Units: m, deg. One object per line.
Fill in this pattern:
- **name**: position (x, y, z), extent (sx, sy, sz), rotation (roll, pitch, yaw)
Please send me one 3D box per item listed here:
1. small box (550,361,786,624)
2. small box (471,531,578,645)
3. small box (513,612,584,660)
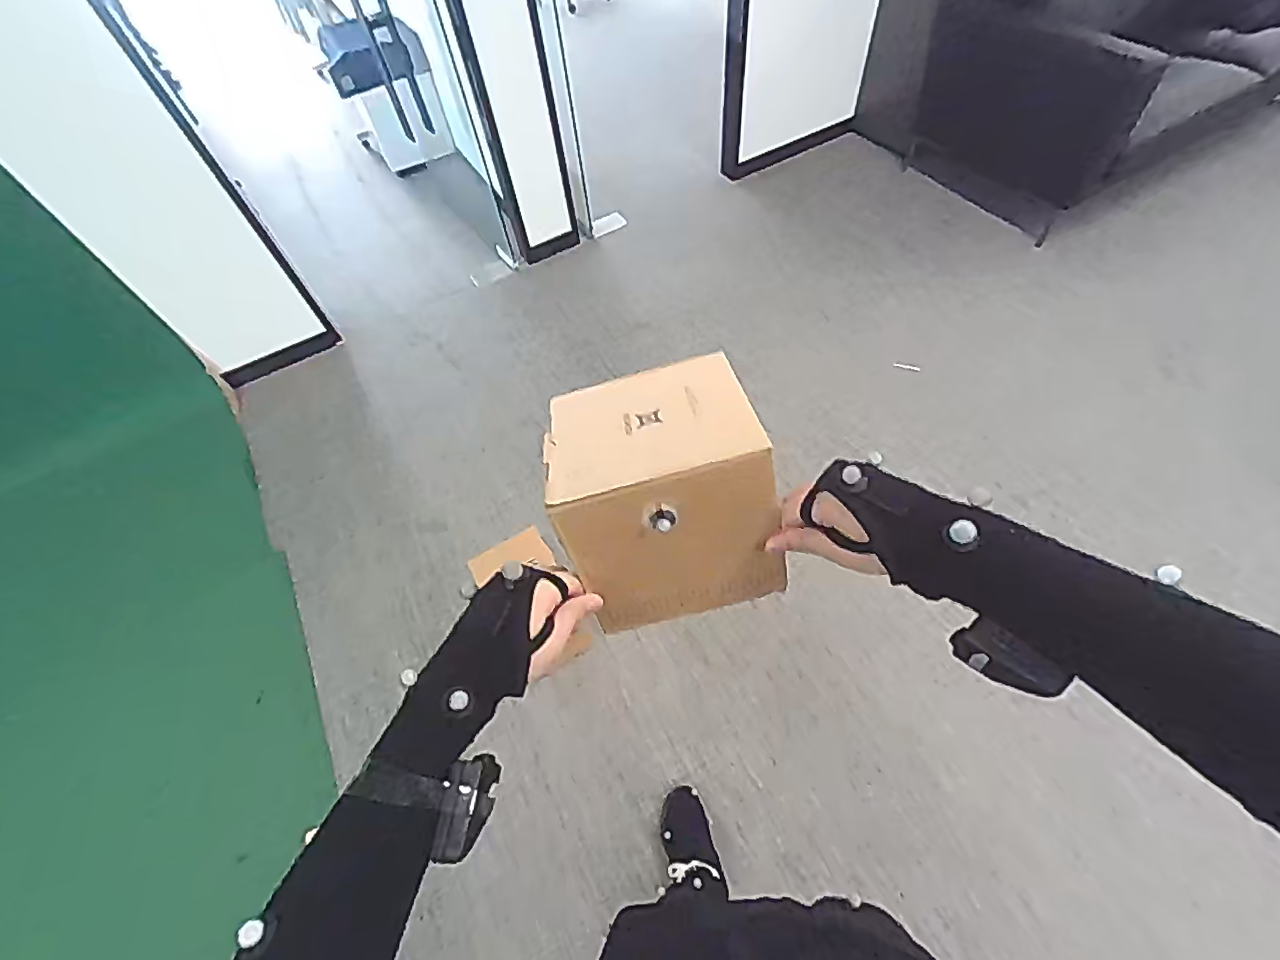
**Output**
- **small box**: position (0.028, 0.013, 0.517), extent (0.179, 0.176, 0.168), rotation (-14, 36, 4)
- **small box**: position (-0.264, 0.258, 1.265), extent (0.179, 0.176, 0.168), rotation (-28, 58, -14)
- **small box**: position (-0.262, 0.345, 1.406), extent (0.168, 0.176, 0.179), rotation (-29, 57, -14)
